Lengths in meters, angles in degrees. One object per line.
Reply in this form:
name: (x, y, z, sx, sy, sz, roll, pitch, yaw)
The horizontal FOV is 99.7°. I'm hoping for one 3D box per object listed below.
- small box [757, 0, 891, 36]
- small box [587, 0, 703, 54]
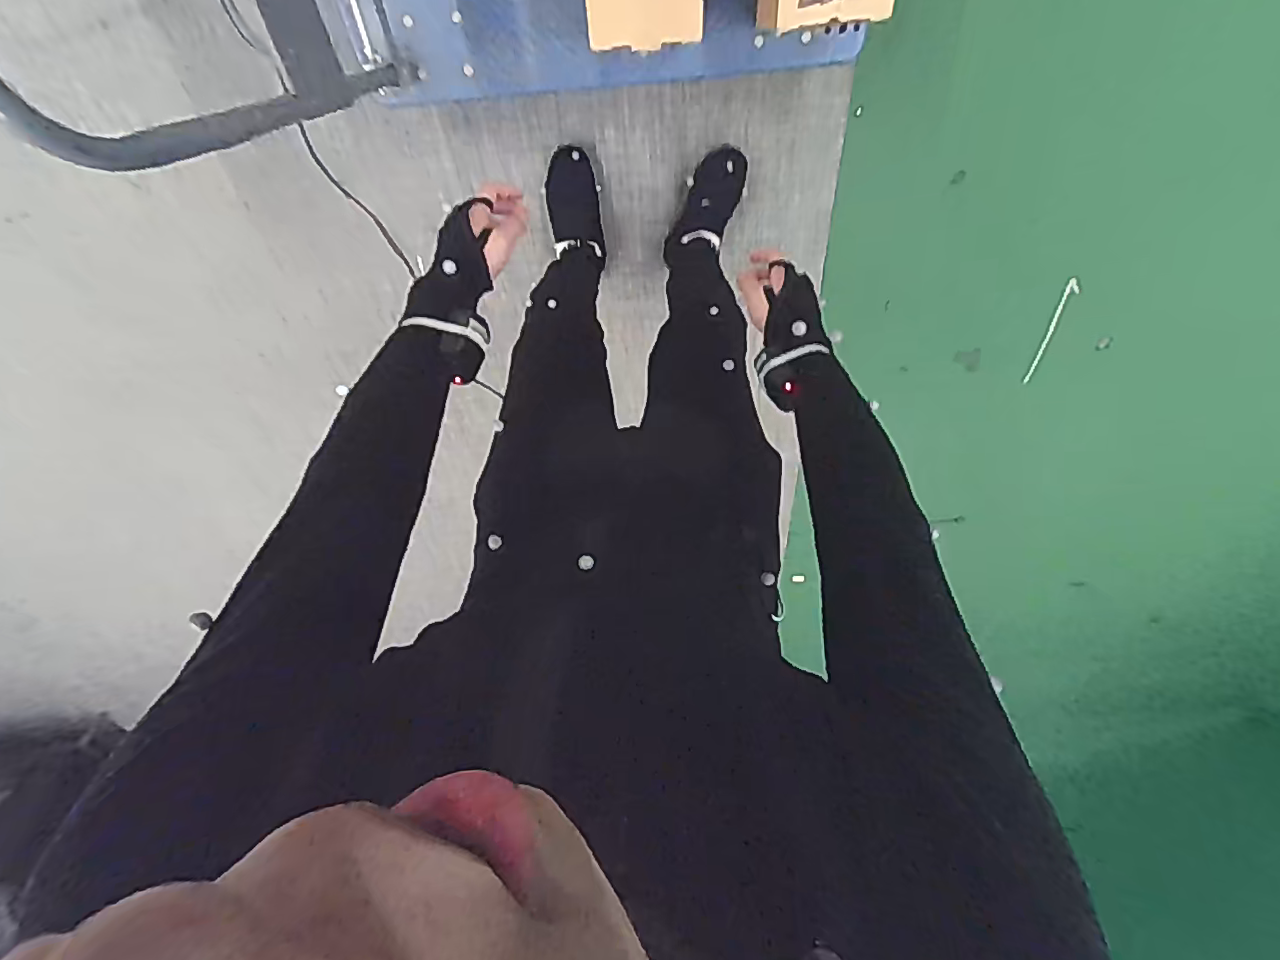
small box: (0.271, -0.778, 0.794, 0.168, 0.176, 0.179, -5, 131, 1)
small box: (0.004, -0.744, 0.789, 0.168, 0.176, 0.179, -4, 132, 0)
